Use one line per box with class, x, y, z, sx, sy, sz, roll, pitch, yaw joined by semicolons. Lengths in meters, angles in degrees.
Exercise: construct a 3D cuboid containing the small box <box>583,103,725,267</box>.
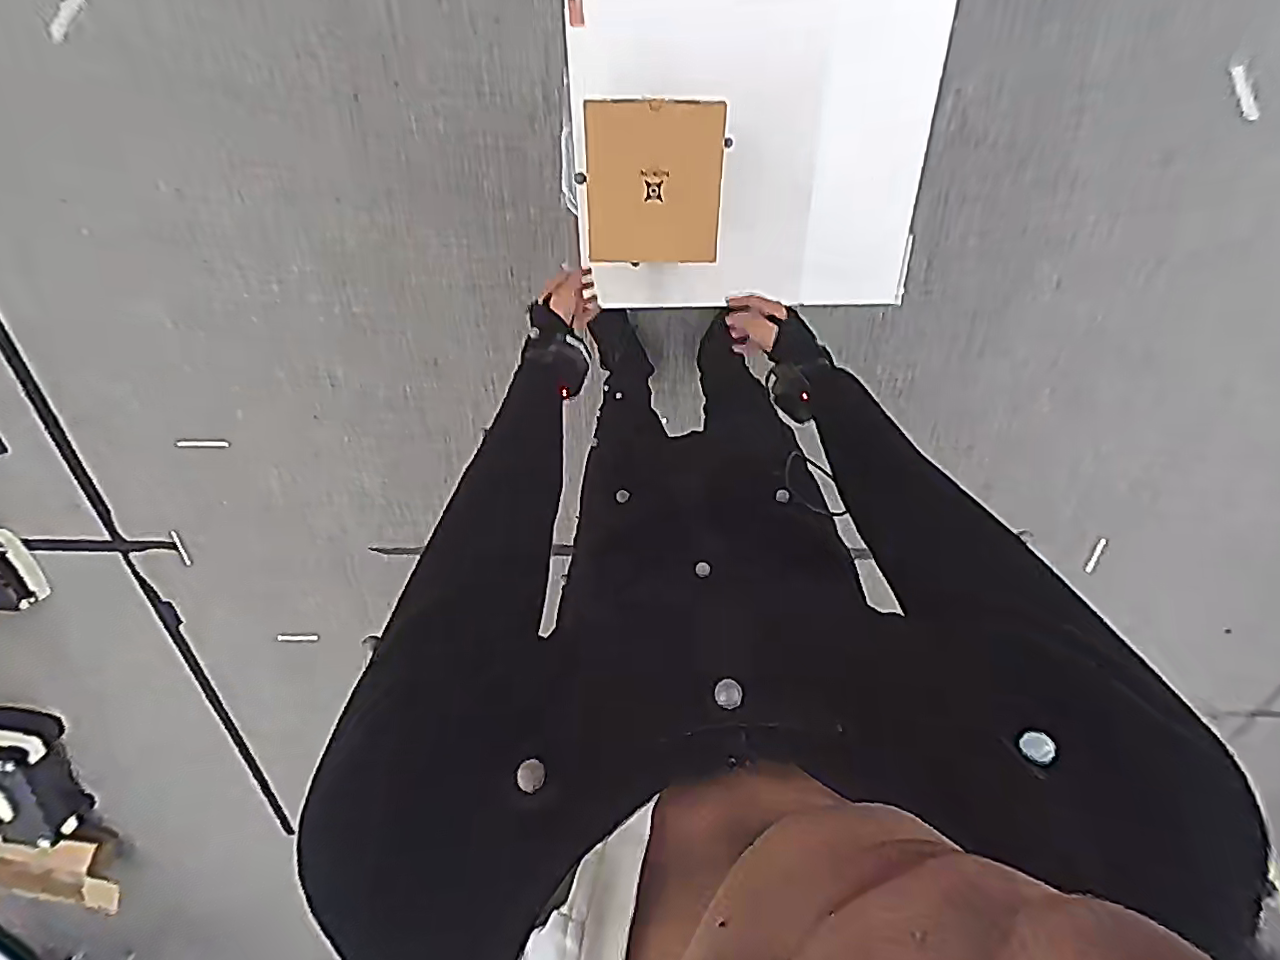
small box;0.015;-0.392;0.726;0.168;0.176;0.179;0;119;-1
